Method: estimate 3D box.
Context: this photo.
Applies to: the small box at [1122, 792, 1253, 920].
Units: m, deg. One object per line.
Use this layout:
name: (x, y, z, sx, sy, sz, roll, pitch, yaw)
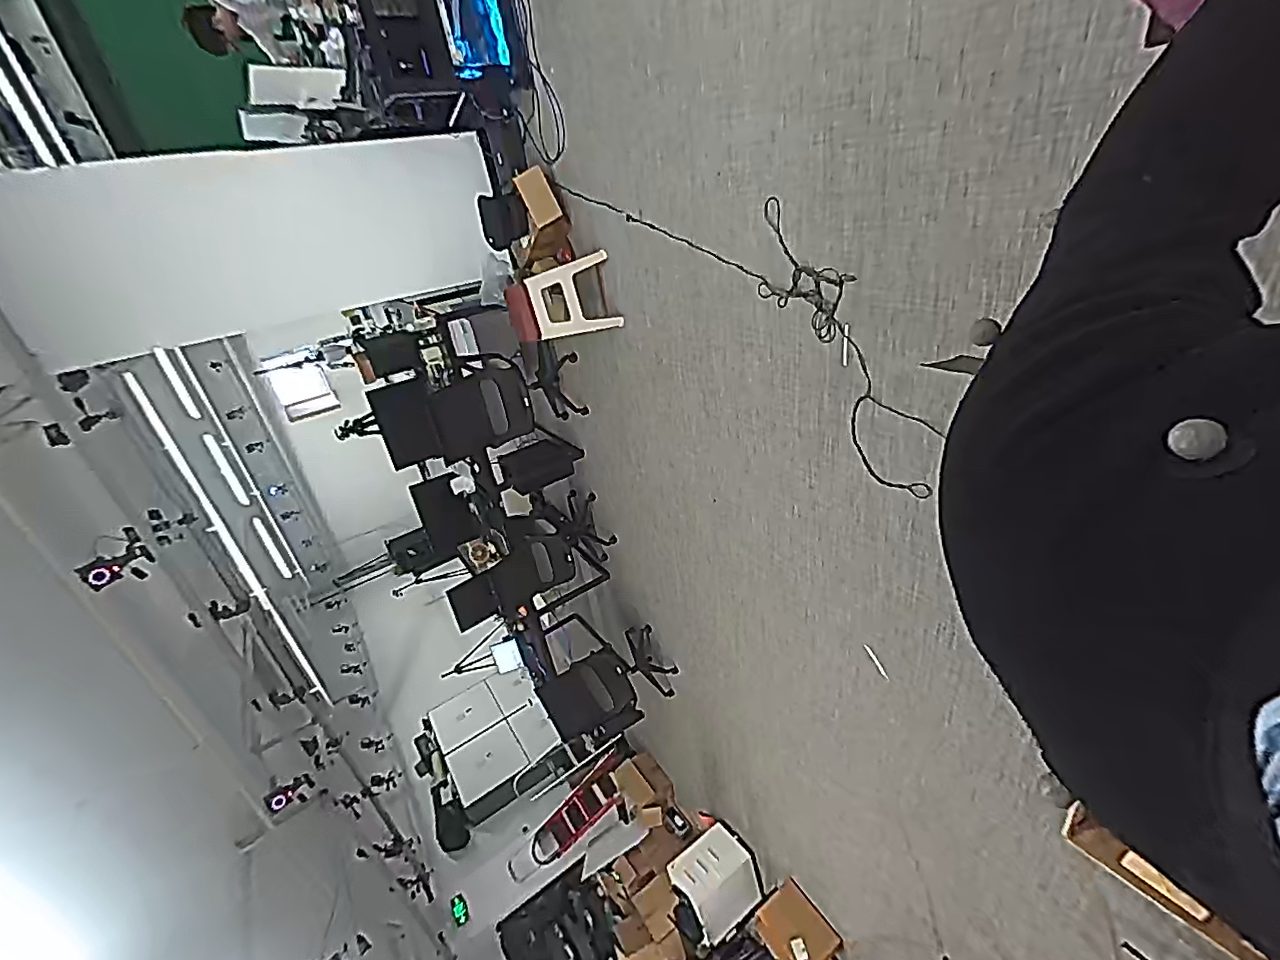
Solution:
small box: (1.387, 0.946, 1.371, 0.168, 0.176, 0.179, 33, 139, 46)
